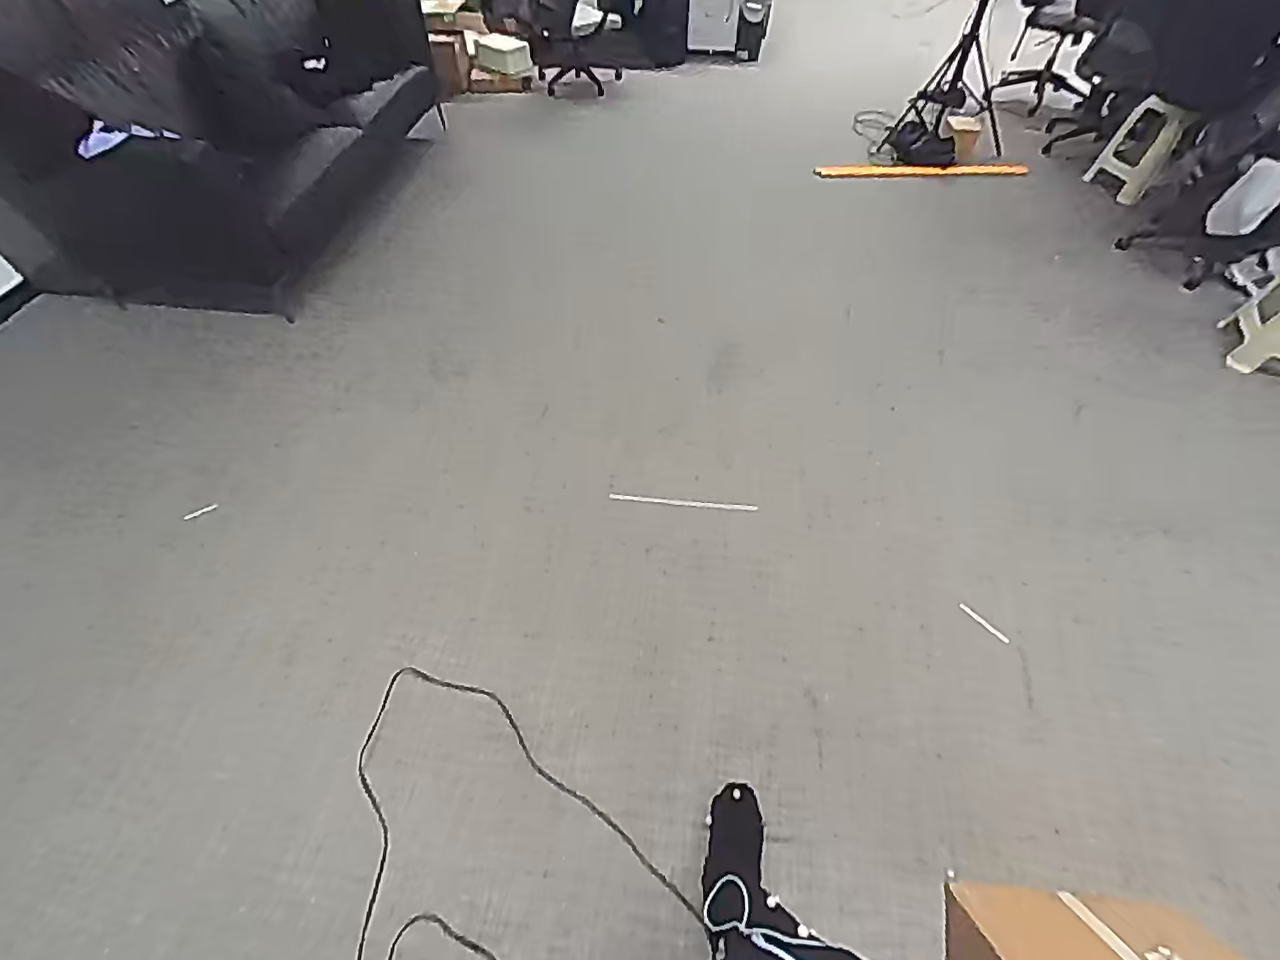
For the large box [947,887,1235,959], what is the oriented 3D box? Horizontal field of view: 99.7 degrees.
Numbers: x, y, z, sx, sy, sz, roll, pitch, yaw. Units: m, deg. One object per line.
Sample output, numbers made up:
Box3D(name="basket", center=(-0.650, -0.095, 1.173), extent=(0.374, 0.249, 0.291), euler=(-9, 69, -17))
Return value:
Box3D(name="large box", center=(0.580, 0.732, 0.569), extent=(0.320, 0.408, 0.320), euler=(4, 84, 5))
